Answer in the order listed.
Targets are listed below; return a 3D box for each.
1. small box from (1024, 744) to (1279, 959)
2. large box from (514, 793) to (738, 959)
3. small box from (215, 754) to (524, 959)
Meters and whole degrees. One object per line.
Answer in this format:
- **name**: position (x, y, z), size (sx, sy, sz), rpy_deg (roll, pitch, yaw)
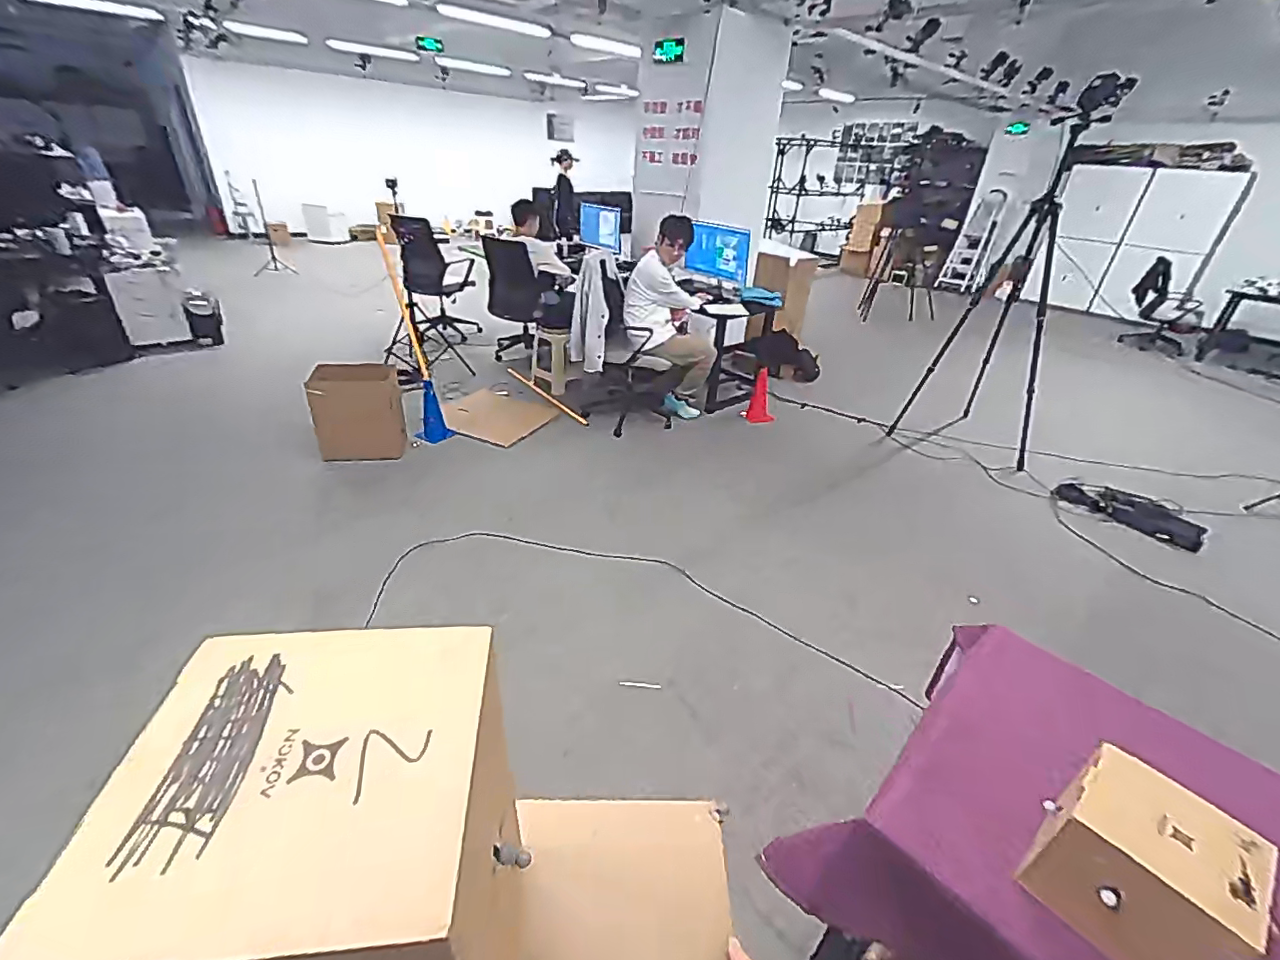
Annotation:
- **small box**: position (0.635, 0.492, 0.689), size (0.168, 0.176, 0.179), rpy_deg (-21, 38, -34)
- **large box**: position (-0.120, 0.556, 0.557), size (0.408, 0.320, 0.320), rpy_deg (2, 37, -4)
- **small box**: position (-0.189, 0.343, 0.427), size (0.179, 0.176, 0.168), rpy_deg (0, 35, -6)
